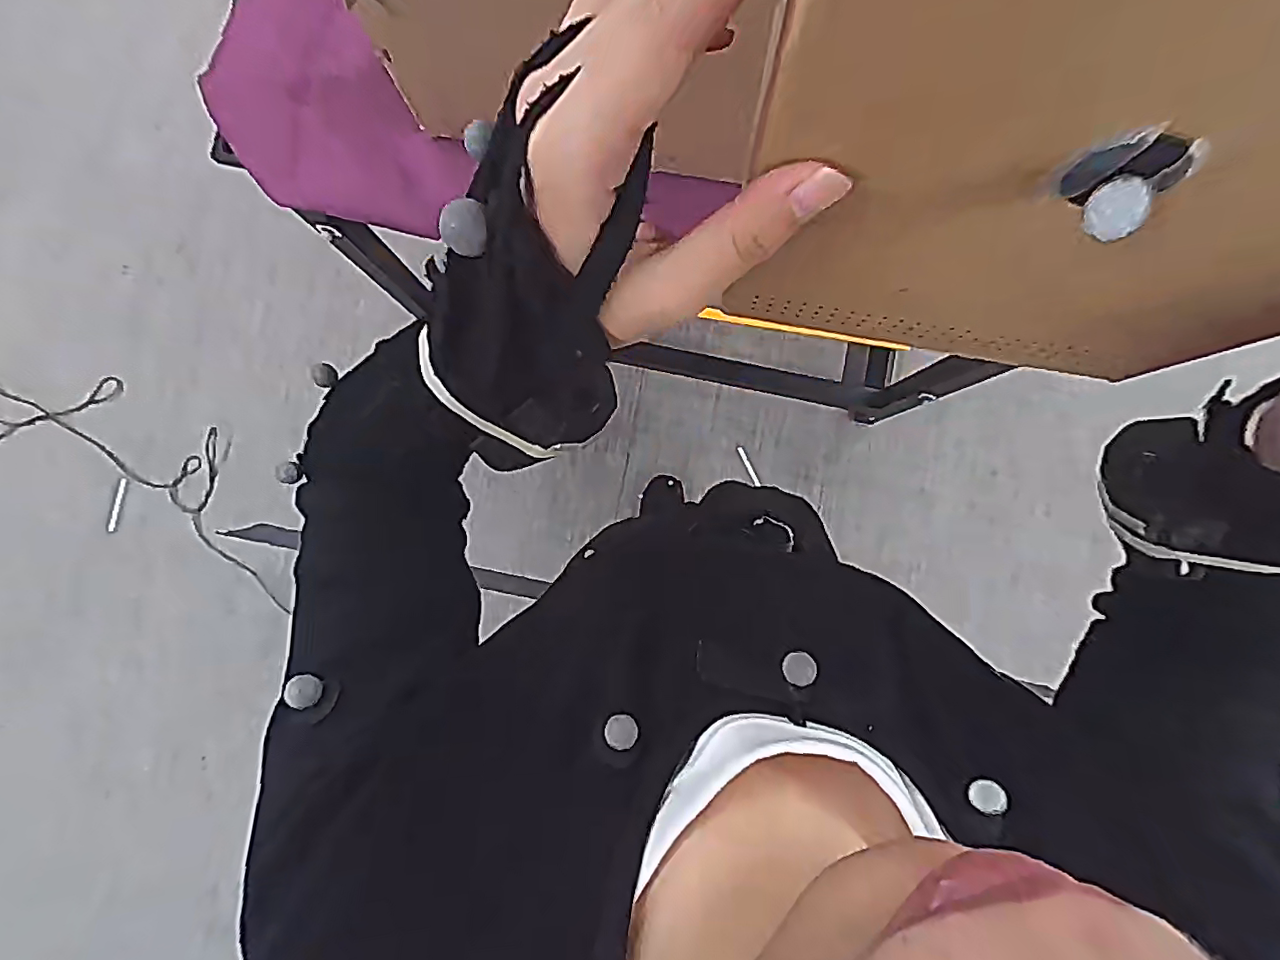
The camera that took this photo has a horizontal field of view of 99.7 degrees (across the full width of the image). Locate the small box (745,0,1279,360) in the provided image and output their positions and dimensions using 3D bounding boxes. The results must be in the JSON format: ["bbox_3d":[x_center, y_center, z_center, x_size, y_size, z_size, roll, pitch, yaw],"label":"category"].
[{"bbox_3d":[0.136,-0.145,0.155,0.179,0.176,0.168,11,88,3],"label":"small box"}]
